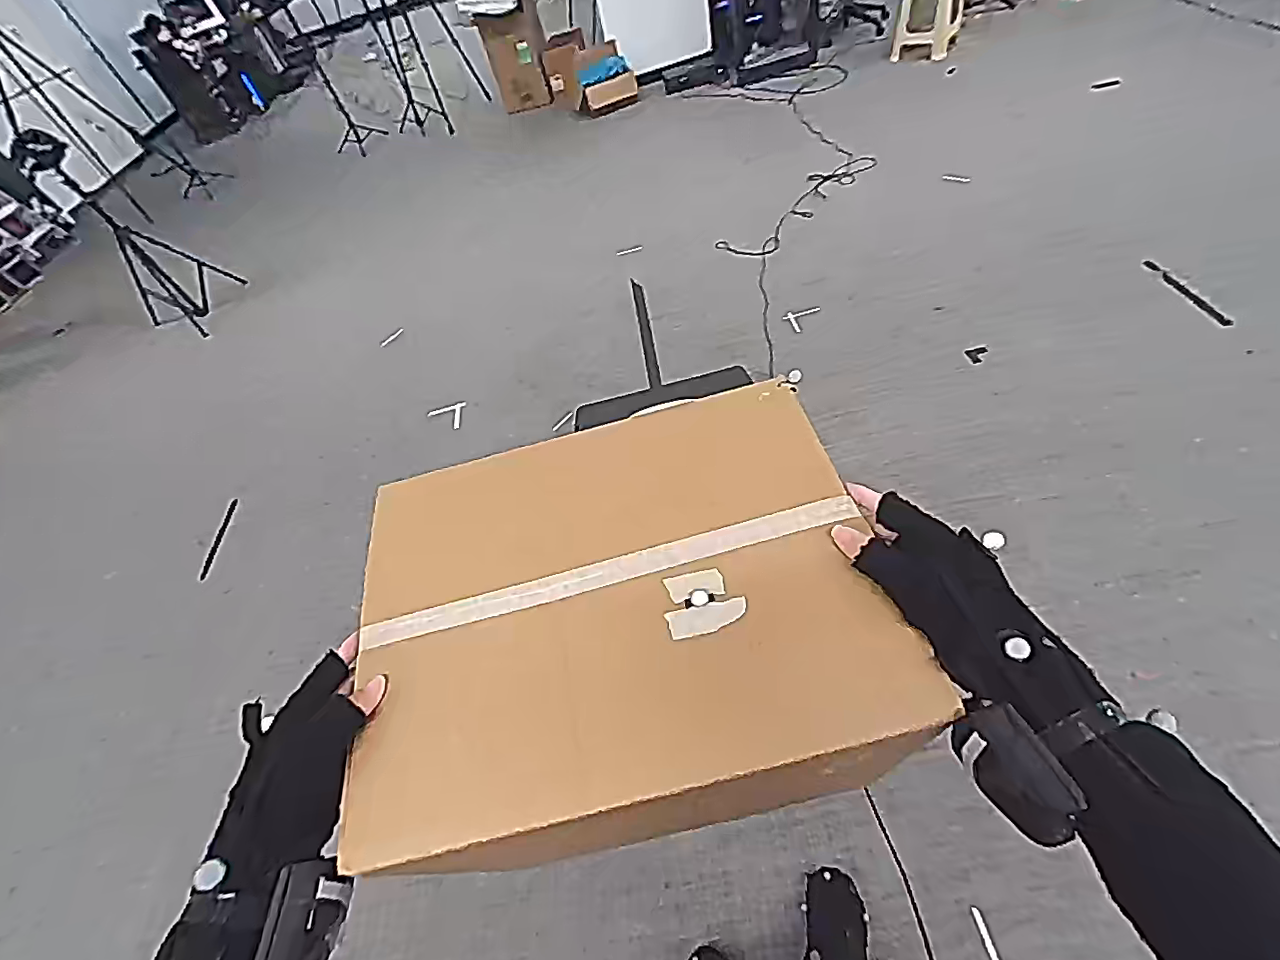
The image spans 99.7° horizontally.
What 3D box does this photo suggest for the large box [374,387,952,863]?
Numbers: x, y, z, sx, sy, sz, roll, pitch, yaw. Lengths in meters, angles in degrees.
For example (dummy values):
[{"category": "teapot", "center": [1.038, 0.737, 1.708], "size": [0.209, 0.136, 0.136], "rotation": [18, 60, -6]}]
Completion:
[{"category": "large box", "center": [0.008, 0.164, 0.560], "size": [0.408, 0.320, 0.320], "rotation": [-15, 54, 1]}]
